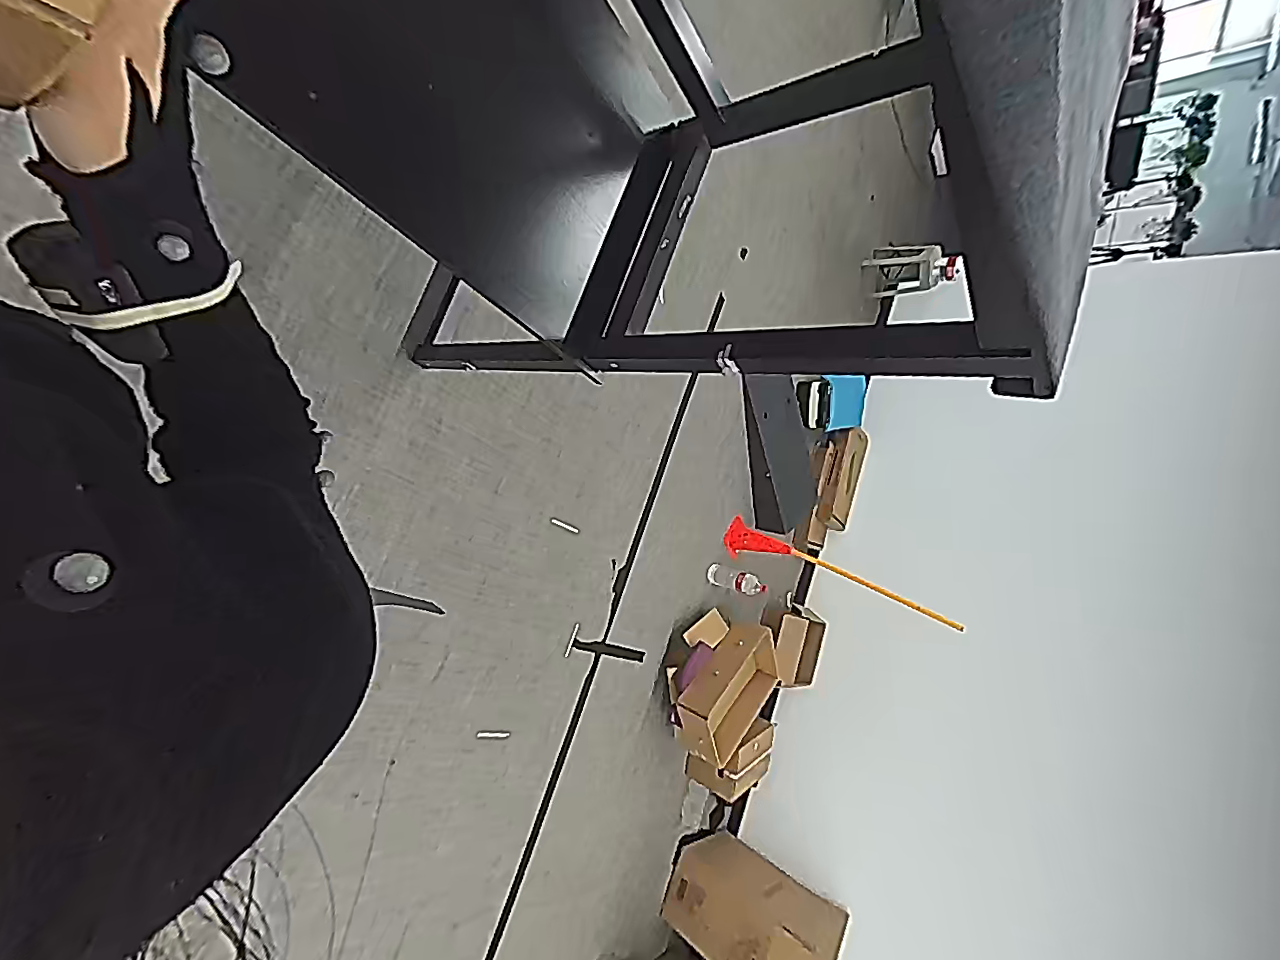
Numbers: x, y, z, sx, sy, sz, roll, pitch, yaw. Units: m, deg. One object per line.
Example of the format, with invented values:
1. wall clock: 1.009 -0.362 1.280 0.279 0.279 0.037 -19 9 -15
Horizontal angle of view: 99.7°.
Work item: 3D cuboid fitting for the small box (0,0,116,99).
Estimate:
1. small box: -0.225 -0.223 0.116 0.168 0.176 0.179 9 98 -56
